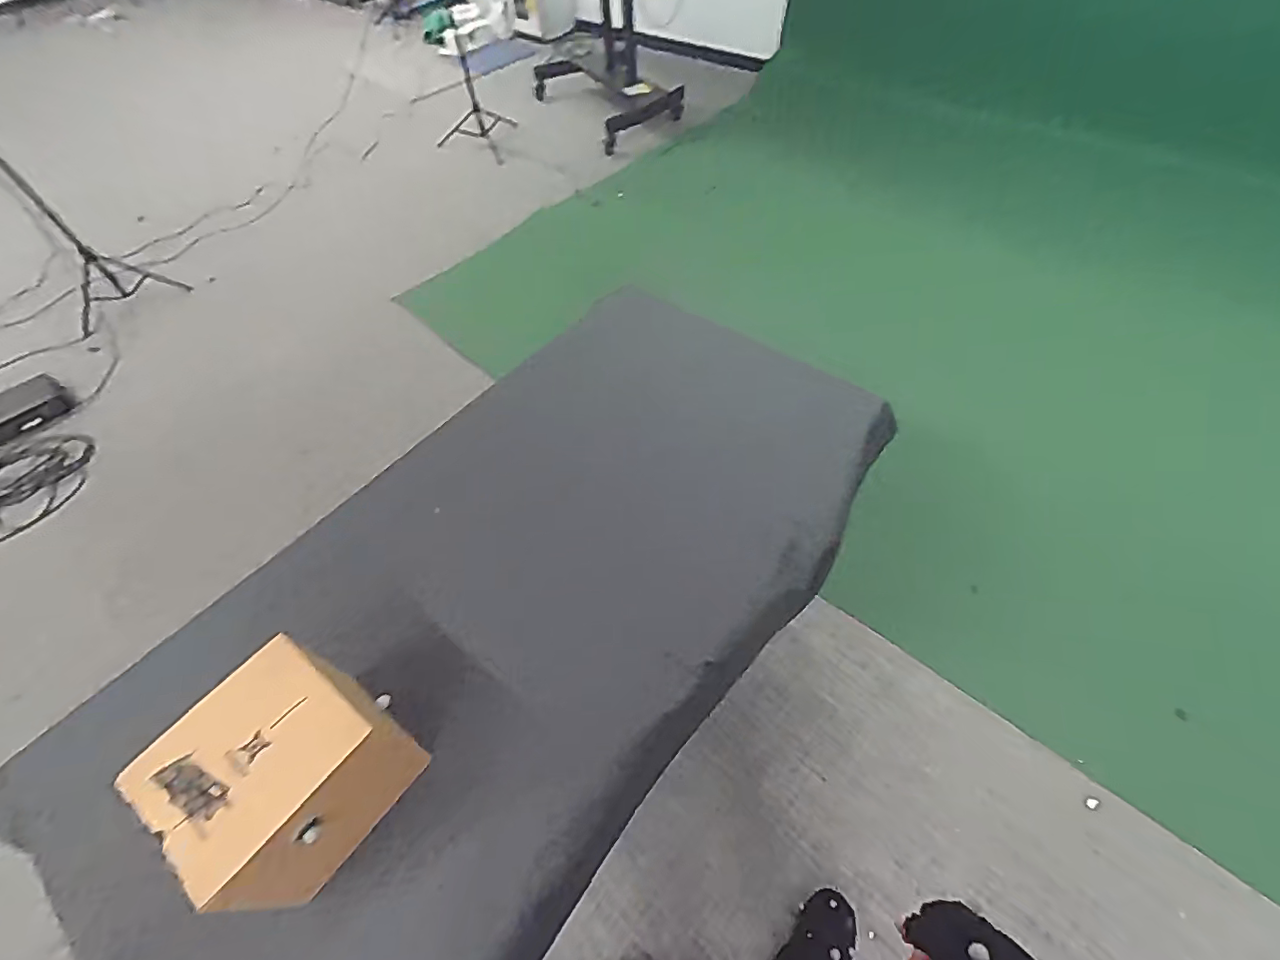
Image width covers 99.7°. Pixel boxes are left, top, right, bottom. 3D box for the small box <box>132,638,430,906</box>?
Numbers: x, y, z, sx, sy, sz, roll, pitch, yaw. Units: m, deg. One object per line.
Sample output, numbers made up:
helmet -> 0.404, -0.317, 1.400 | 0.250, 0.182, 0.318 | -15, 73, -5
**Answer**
small box -> -0.365, 0.313, 0.585 | 0.168, 0.176, 0.179 | 30, 60, 22
